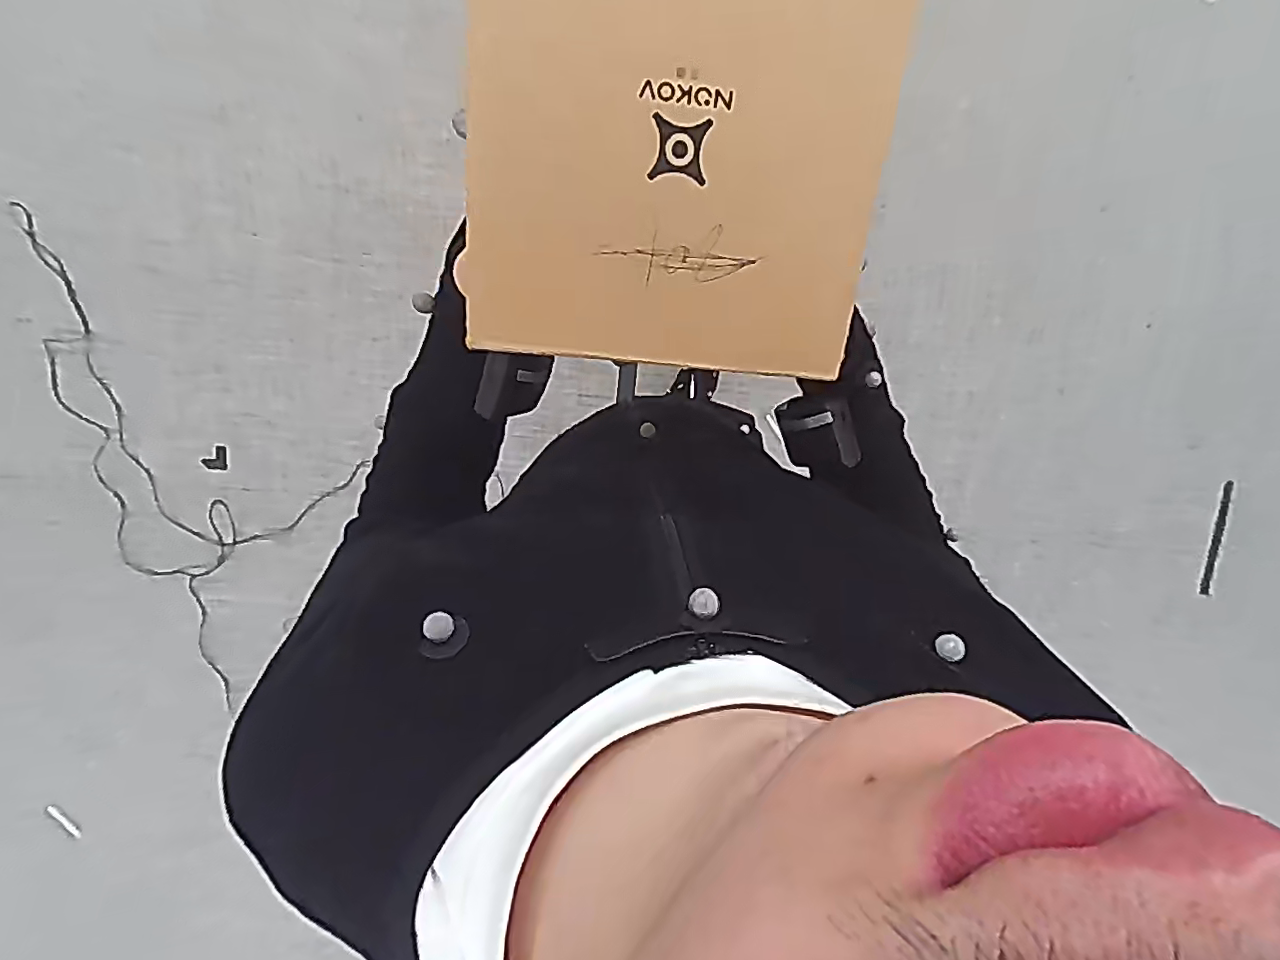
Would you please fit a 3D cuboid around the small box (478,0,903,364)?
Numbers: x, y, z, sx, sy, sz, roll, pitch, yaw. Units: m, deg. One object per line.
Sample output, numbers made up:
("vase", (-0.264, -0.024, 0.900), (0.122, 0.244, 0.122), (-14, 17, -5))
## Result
("small box", (0.013, -0.168, 0.297), (0.168, 0.176, 0.179), (4, 110, -4))
